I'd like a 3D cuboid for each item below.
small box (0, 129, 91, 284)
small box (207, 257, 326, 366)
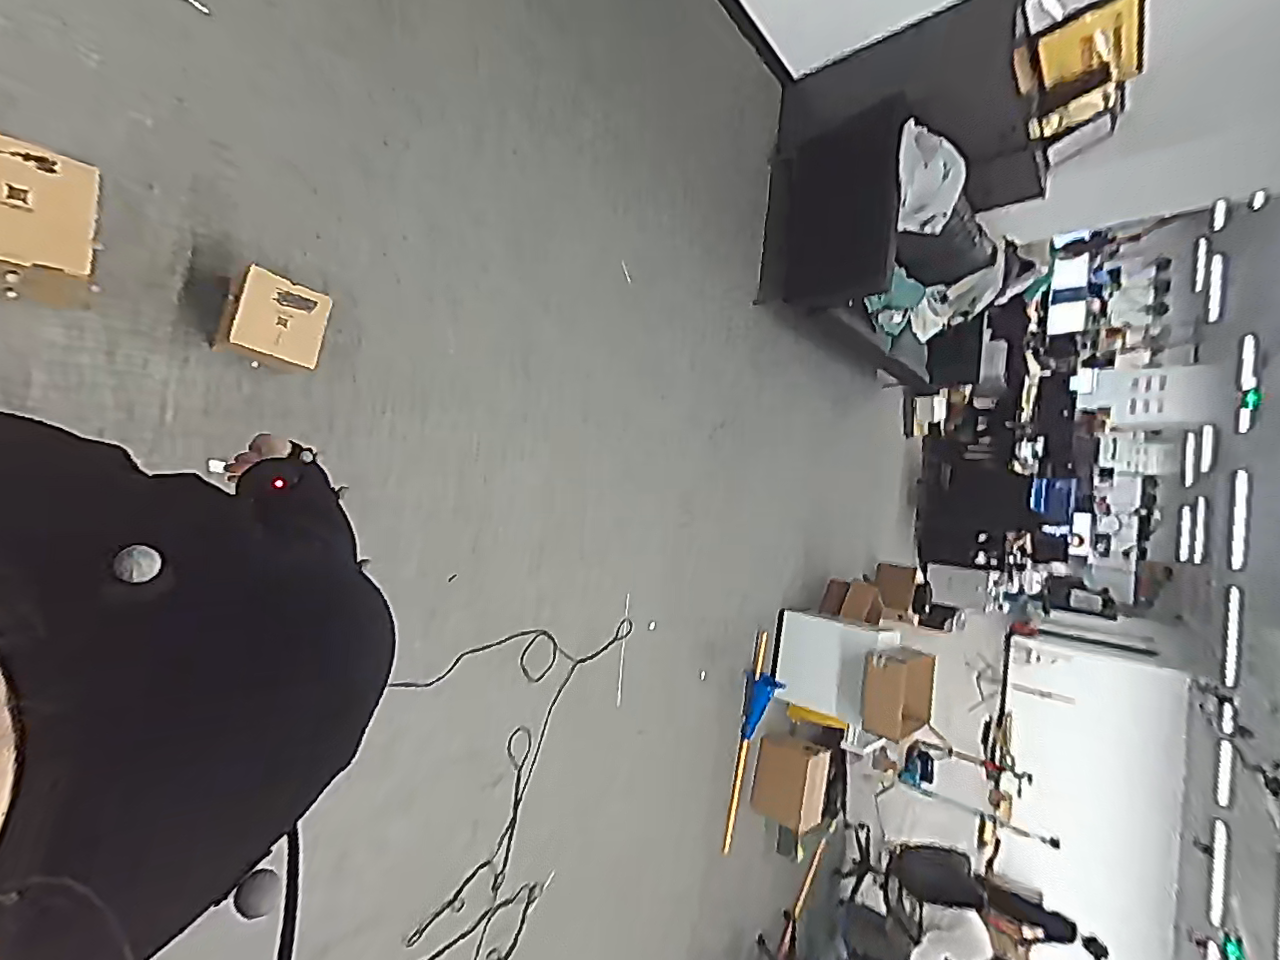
[{"bbox_3d":[-0.973,-0.421,0.831,0.168,0.176,0.179,5,90,-49],"label":"small box"},{"bbox_3d":[-0.851,-0.372,1.228,0.168,0.176,0.179,18,81,-48],"label":"small box"}]
